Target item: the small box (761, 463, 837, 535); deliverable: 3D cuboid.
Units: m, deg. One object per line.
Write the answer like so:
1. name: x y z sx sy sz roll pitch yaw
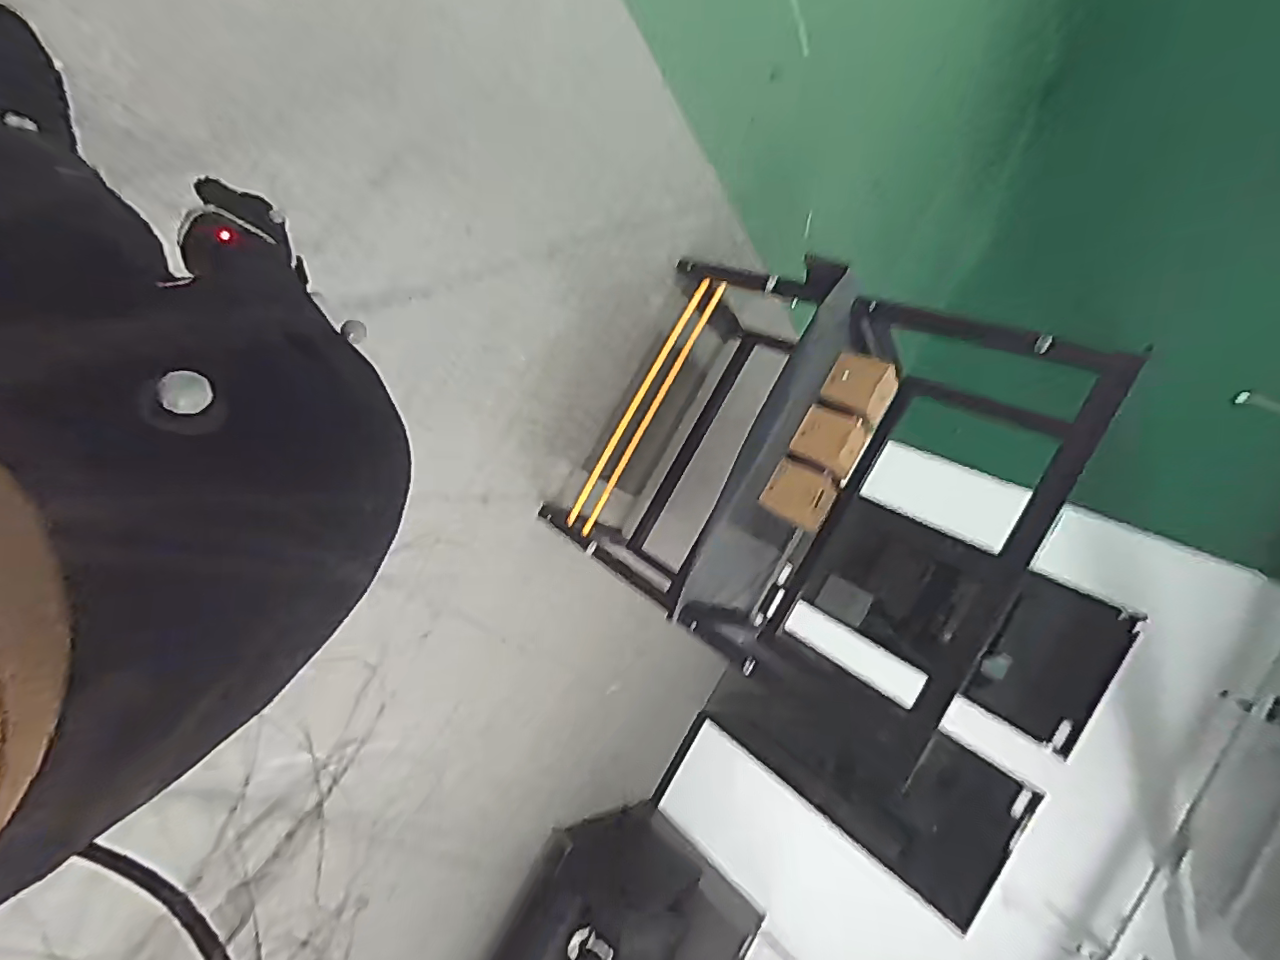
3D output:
1. small box: 0.529 0.061 1.811 0.168 0.176 0.179 -60 145 0
